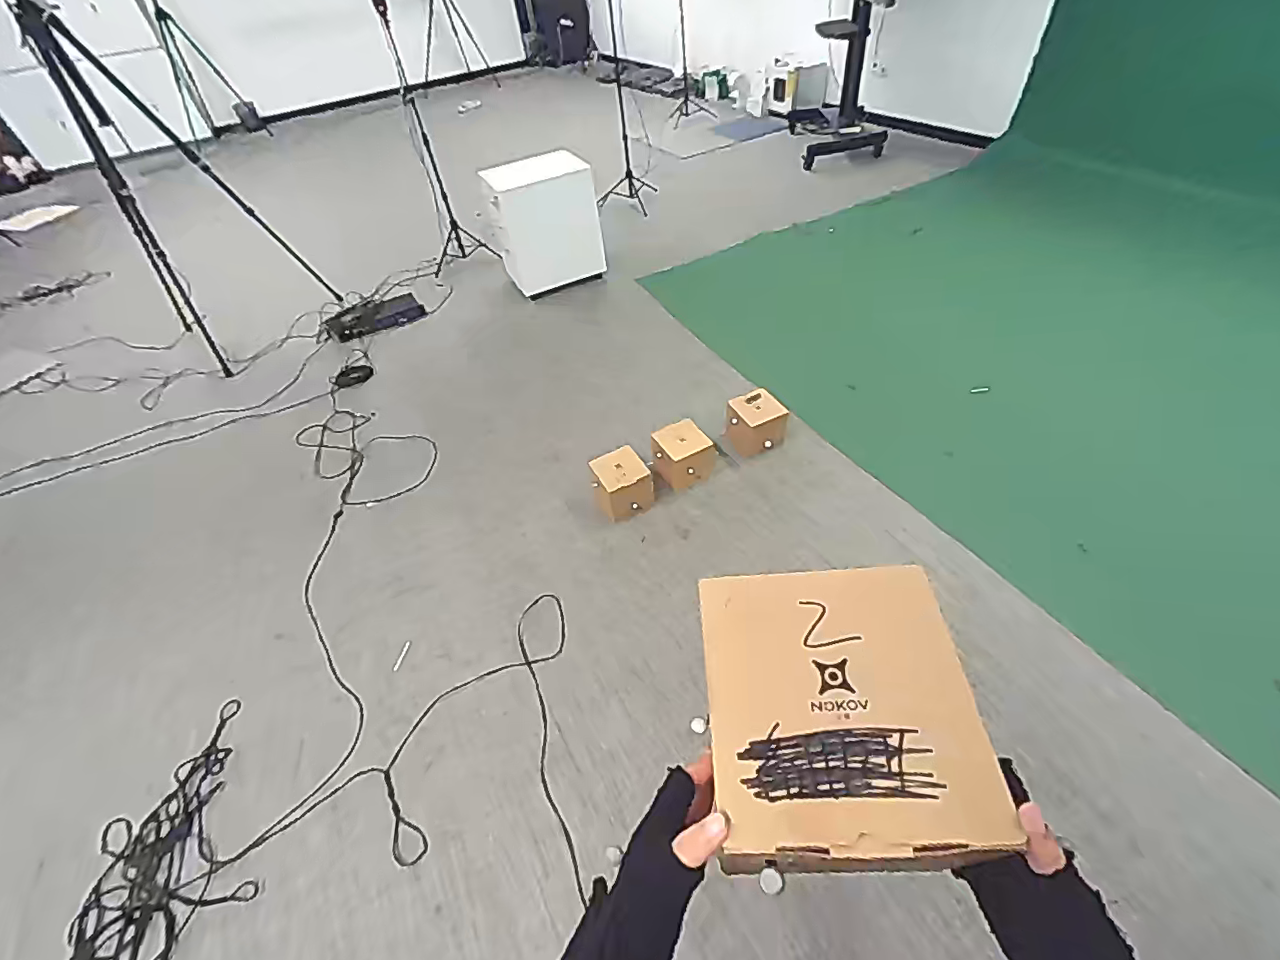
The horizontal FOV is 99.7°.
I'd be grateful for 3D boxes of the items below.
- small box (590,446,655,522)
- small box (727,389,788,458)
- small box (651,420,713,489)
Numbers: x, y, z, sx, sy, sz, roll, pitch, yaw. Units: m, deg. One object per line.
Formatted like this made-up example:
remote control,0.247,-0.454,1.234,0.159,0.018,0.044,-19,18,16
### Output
small box,-0.061,0.016,1.934,0.168,0.176,0.179,-25,49,-15
small box,0.448,-0.217,2.092,0.168,0.176,0.179,-22,49,-13
small box,0.161,-0.088,2.008,0.168,0.176,0.179,-25,48,-16
